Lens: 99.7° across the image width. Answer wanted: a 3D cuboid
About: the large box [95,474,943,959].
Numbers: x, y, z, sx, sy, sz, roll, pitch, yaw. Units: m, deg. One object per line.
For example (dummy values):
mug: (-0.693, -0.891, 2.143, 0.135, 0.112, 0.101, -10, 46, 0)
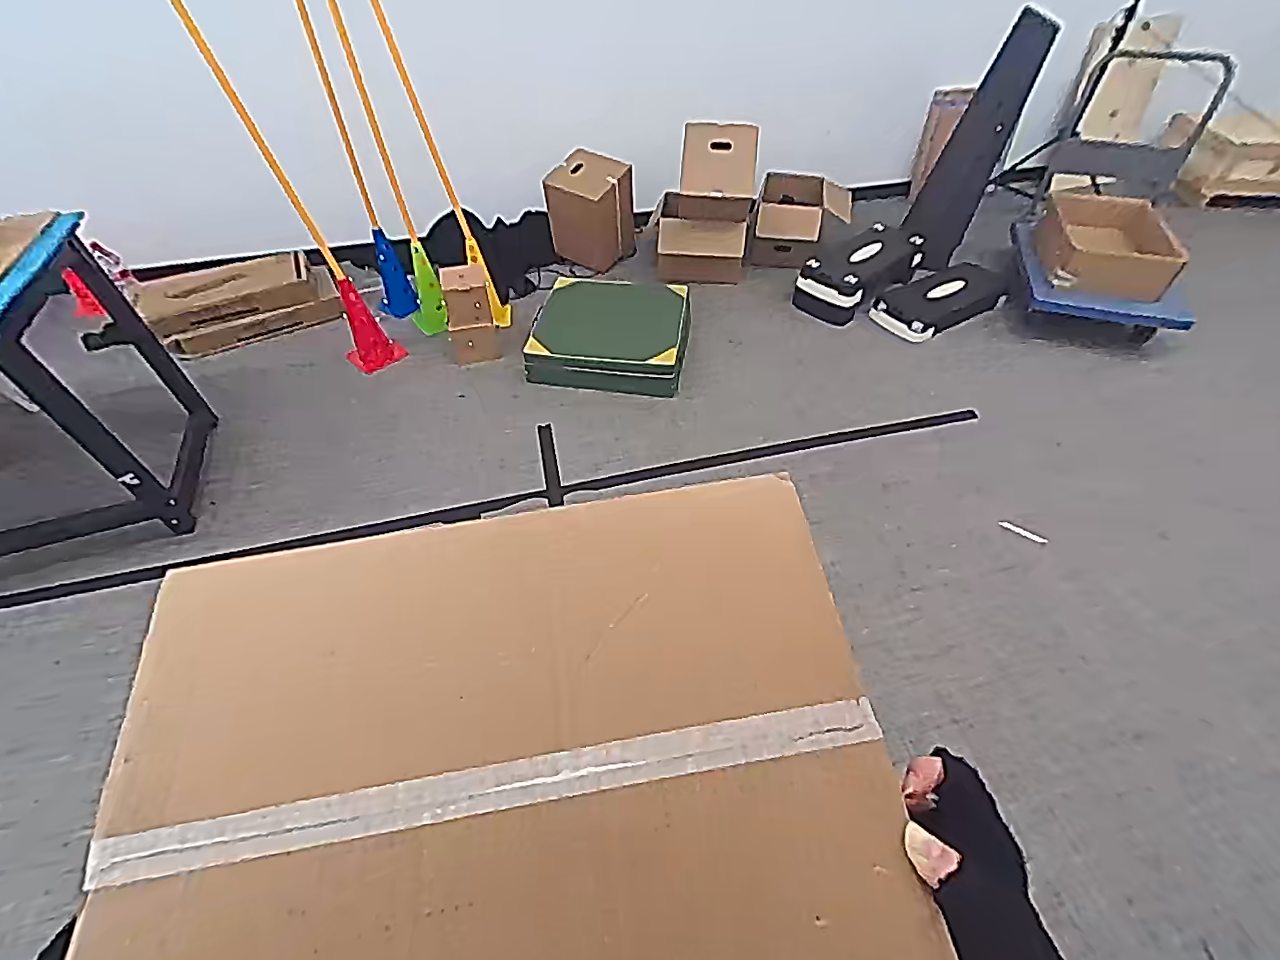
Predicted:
large box: (-0.070, 0.231, 0.424, 0.408, 0.320, 0.320, -9, 62, -3)
